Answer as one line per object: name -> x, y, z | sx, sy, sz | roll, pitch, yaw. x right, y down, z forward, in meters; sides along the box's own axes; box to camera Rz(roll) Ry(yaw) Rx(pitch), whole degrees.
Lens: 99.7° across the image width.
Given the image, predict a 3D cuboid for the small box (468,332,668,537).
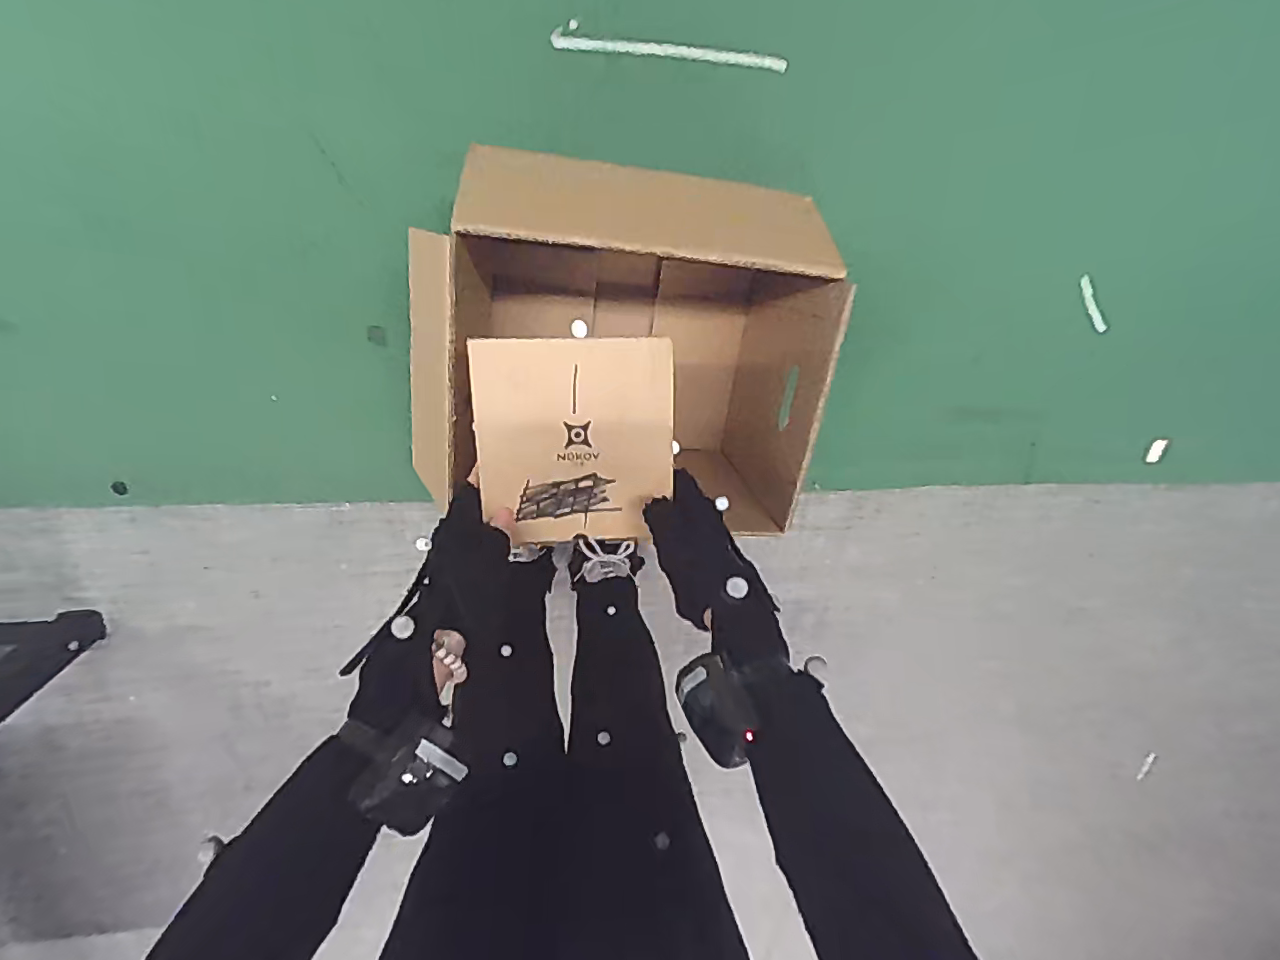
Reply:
small box -> -0.065, -0.055, 0.538 | 0.168, 0.176, 0.179 | -3, 103, -6
